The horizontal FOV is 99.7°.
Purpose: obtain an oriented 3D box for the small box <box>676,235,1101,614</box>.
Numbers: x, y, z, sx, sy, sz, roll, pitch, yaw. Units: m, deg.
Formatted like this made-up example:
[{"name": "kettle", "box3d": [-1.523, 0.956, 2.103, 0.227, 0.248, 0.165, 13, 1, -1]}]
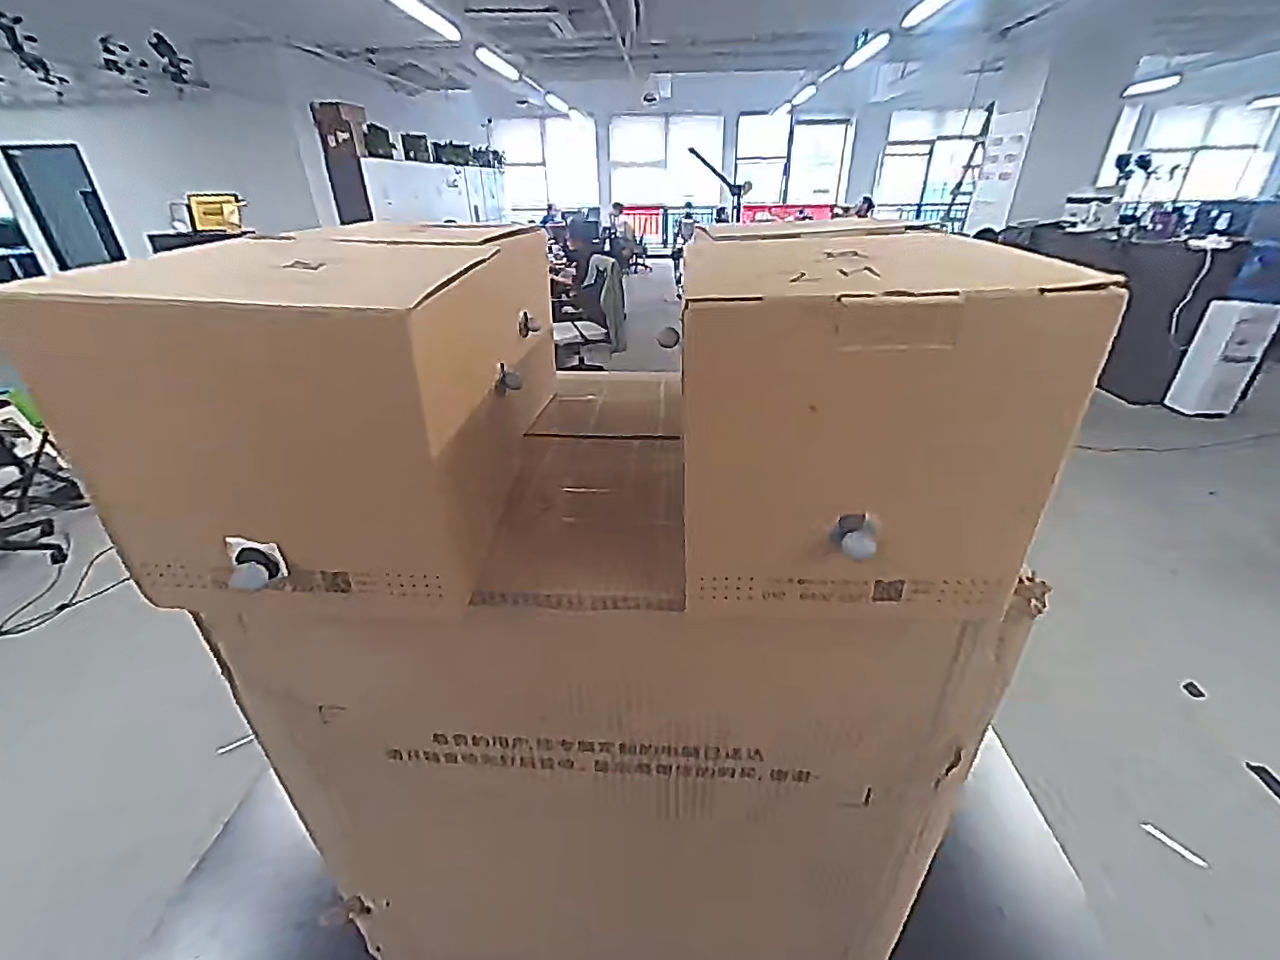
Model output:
[{"name": "small box", "box3d": [0.106, -0.044, 0.325, 0.168, 0.176, 0.179, -1, 31, 5]}]
